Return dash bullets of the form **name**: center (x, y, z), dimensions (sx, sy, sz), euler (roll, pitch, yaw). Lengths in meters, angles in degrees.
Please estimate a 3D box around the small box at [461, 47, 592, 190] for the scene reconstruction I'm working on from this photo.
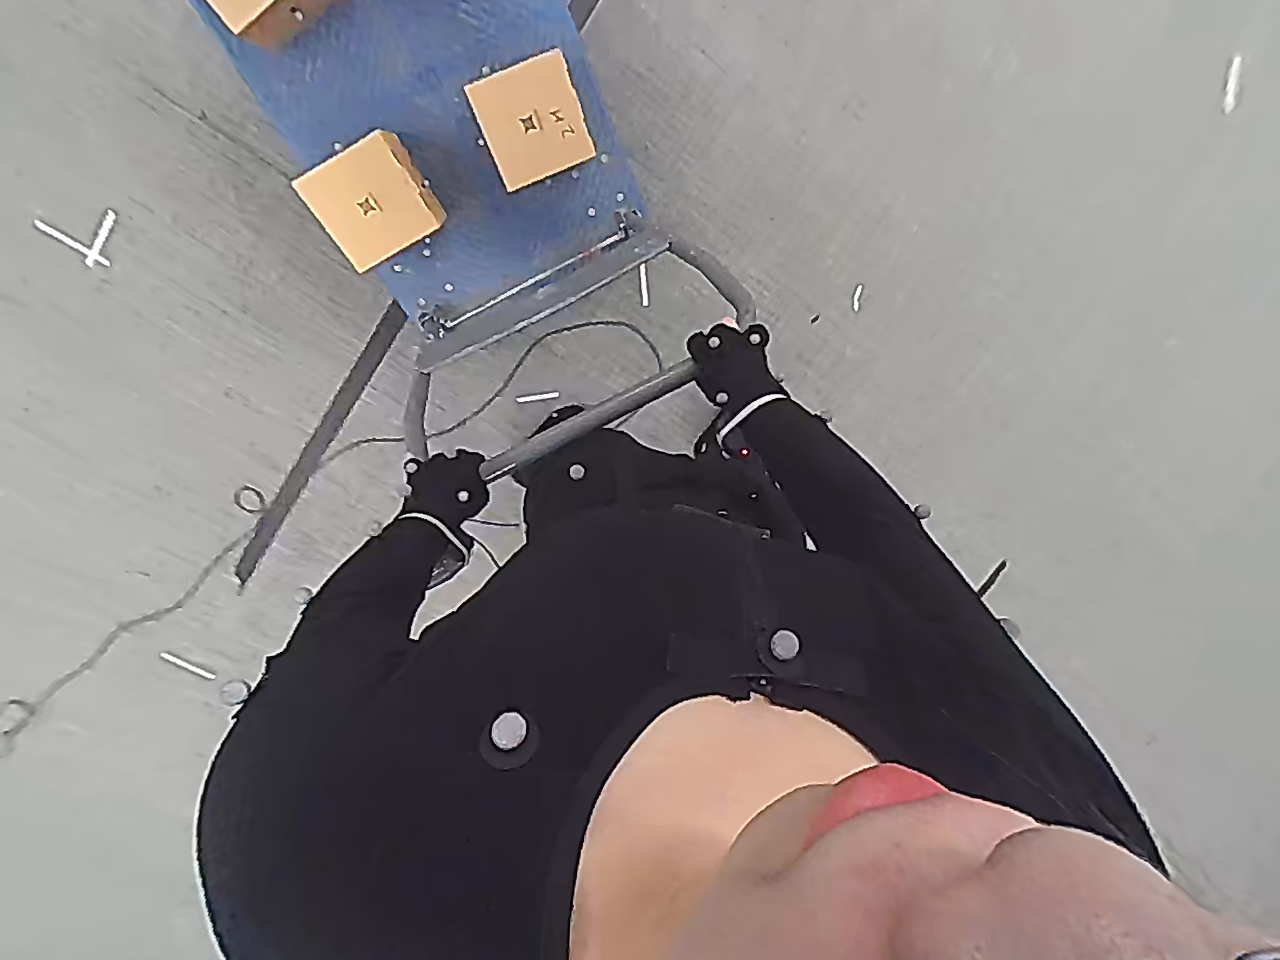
- **small box**: center (-0.206, -0.651, 0.992), dimensions (0.179, 0.176, 0.168), euler (-24, 123, -1)

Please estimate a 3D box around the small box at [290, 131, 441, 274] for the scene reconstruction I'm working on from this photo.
- **small box**: center (-0.491, -0.509, 0.999), dimensions (0.179, 0.176, 0.168), euler (-31, 122, 2)
